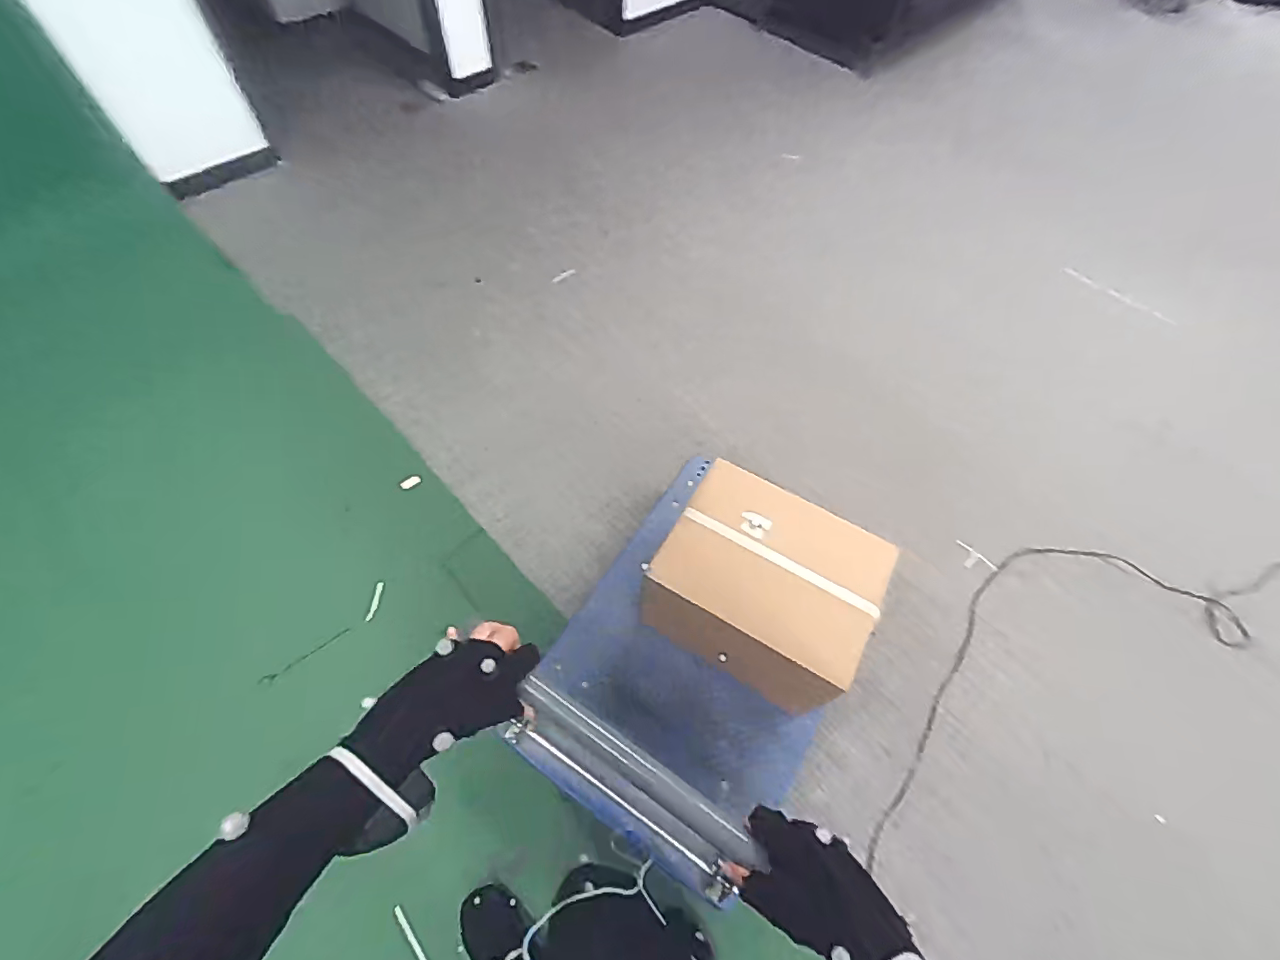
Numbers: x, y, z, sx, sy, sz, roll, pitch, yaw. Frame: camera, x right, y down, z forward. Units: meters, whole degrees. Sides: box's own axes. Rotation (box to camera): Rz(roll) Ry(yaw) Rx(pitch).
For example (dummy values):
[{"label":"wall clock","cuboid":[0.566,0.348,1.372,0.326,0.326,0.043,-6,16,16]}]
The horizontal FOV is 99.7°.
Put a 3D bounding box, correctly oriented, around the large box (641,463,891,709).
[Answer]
[{"label":"large box","cuboid":[0.250,0.235,1.169,0.408,0.320,0.320,27,61,14]}]
